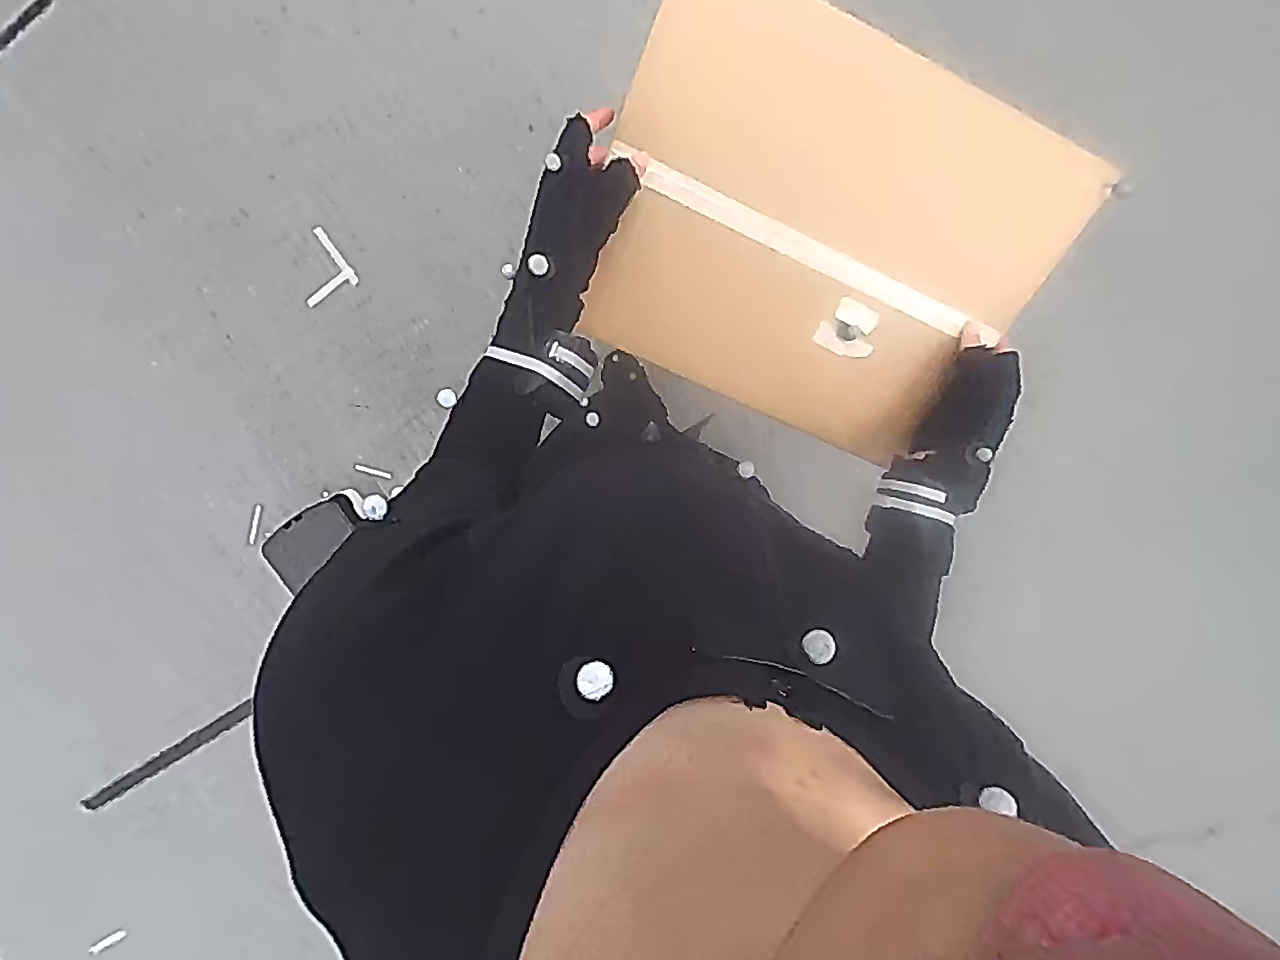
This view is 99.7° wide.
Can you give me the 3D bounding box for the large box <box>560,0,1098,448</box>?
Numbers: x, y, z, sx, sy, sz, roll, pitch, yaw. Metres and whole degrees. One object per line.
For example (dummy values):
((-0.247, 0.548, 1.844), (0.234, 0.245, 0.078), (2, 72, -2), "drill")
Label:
((0.159, -0.292, 0.633), (0.408, 0.320, 0.320), (21, 118, -8), "large box")
